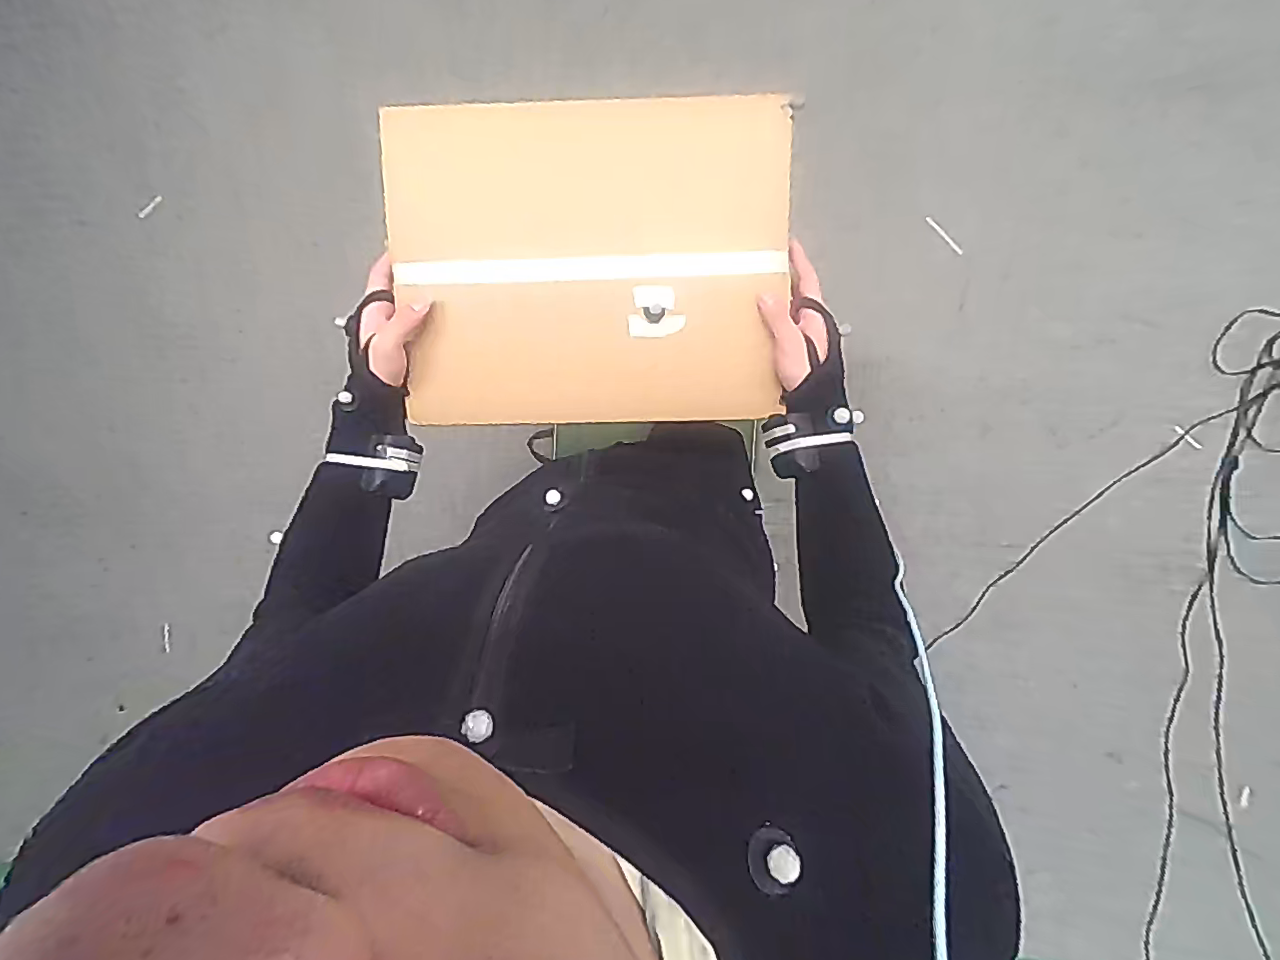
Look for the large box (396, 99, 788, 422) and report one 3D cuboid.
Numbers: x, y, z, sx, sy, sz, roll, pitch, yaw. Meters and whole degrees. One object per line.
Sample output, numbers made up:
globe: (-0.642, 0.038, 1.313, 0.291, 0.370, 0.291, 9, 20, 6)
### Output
large box: (-0.046, -0.243, 0.710, 0.408, 0.320, 0.320, -1, 99, 1)
